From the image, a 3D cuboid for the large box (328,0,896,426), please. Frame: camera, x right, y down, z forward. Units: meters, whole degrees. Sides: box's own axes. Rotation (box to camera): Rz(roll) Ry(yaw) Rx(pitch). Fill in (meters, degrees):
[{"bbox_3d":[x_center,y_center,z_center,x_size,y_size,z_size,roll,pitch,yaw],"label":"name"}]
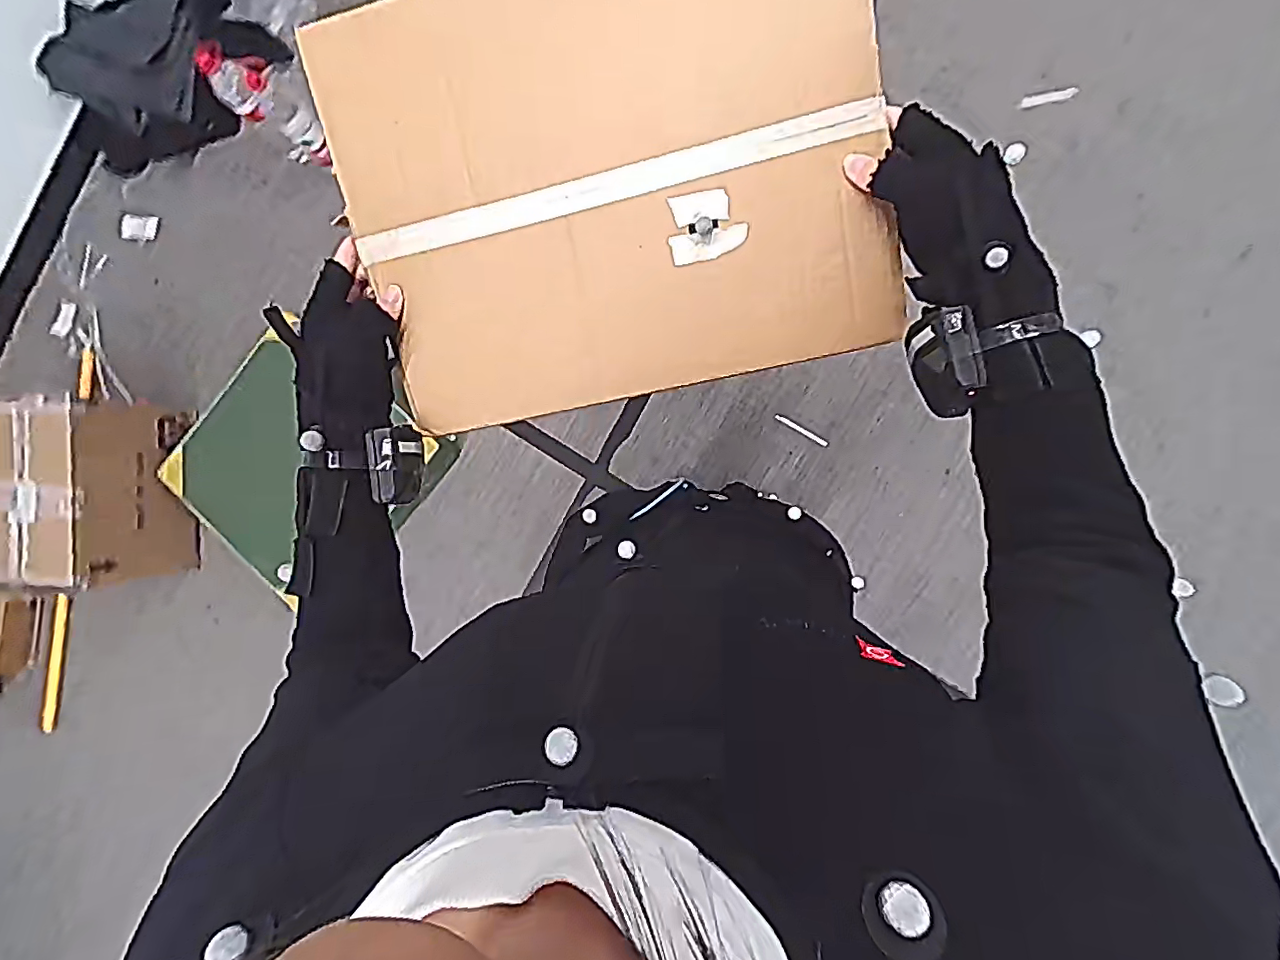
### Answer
[{"bbox_3d":[-0.008,-0.264,0.566,0.408,0.320,0.320,-10,104,8],"label":"large box"}]
